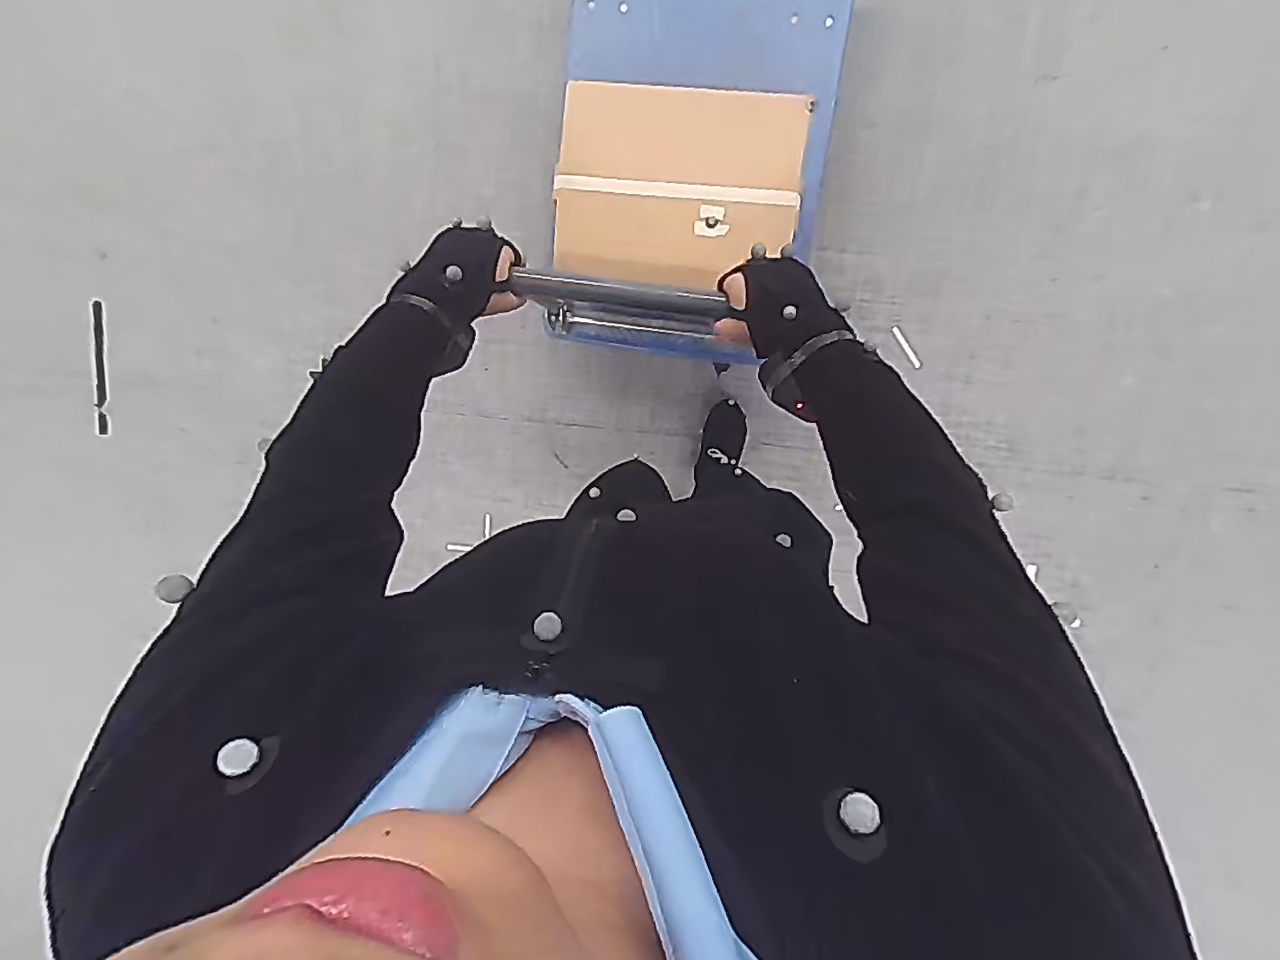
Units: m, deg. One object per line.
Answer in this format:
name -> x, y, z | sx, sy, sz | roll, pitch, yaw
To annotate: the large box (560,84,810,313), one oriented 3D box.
large box -> 0.079, -0.520, 1.064 | 0.408, 0.320, 0.320 | 7, 101, 4
